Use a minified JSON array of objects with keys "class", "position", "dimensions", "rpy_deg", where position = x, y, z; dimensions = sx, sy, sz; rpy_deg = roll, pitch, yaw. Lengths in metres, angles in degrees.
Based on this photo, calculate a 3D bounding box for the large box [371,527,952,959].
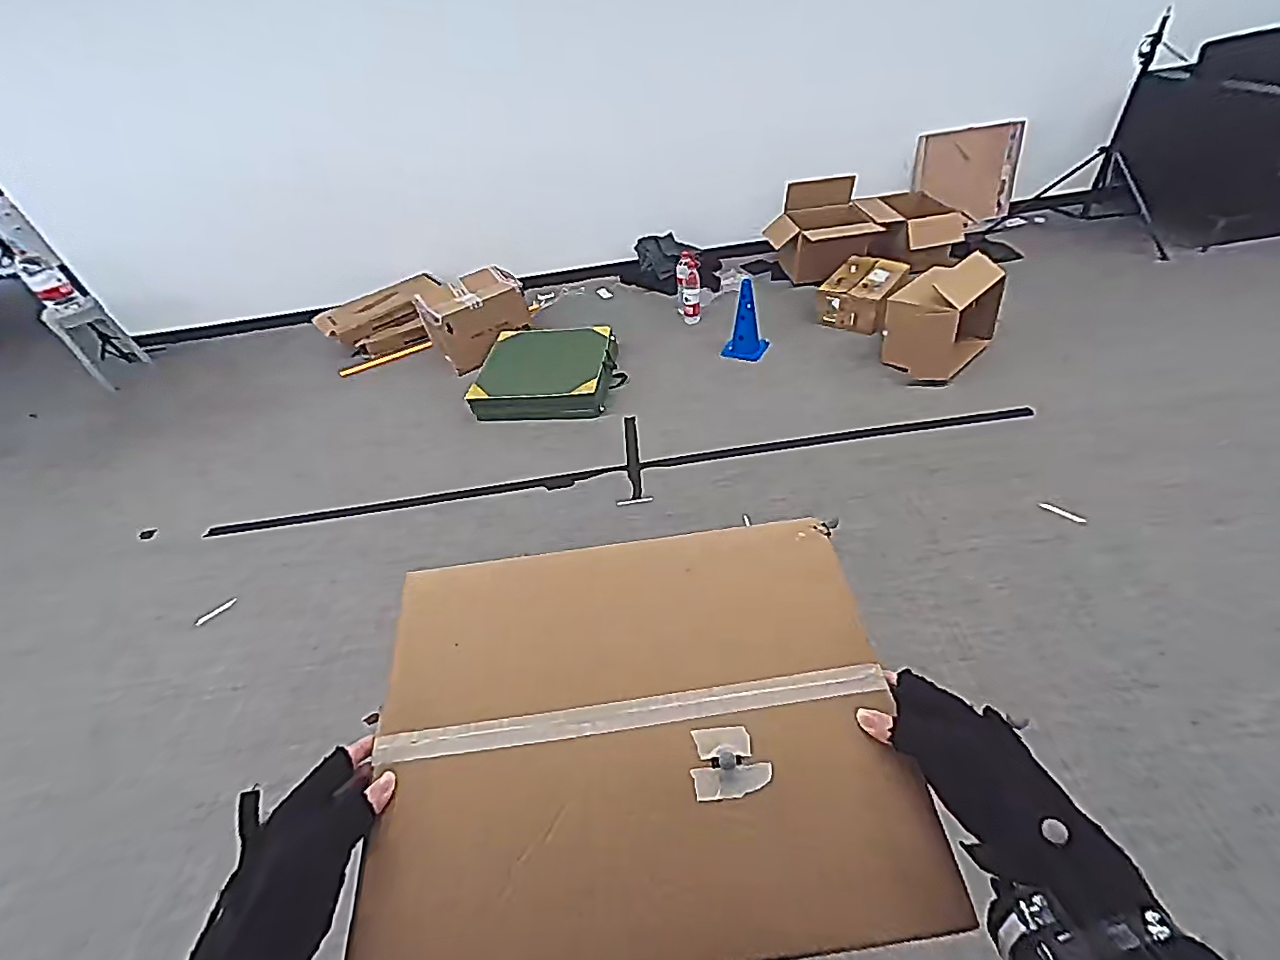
[{"class":"large box","position":[0.006,0.285,0.564],"dimensions":[0.408,0.320,0.320],"rpy_deg":[-8,53,-1]}]
